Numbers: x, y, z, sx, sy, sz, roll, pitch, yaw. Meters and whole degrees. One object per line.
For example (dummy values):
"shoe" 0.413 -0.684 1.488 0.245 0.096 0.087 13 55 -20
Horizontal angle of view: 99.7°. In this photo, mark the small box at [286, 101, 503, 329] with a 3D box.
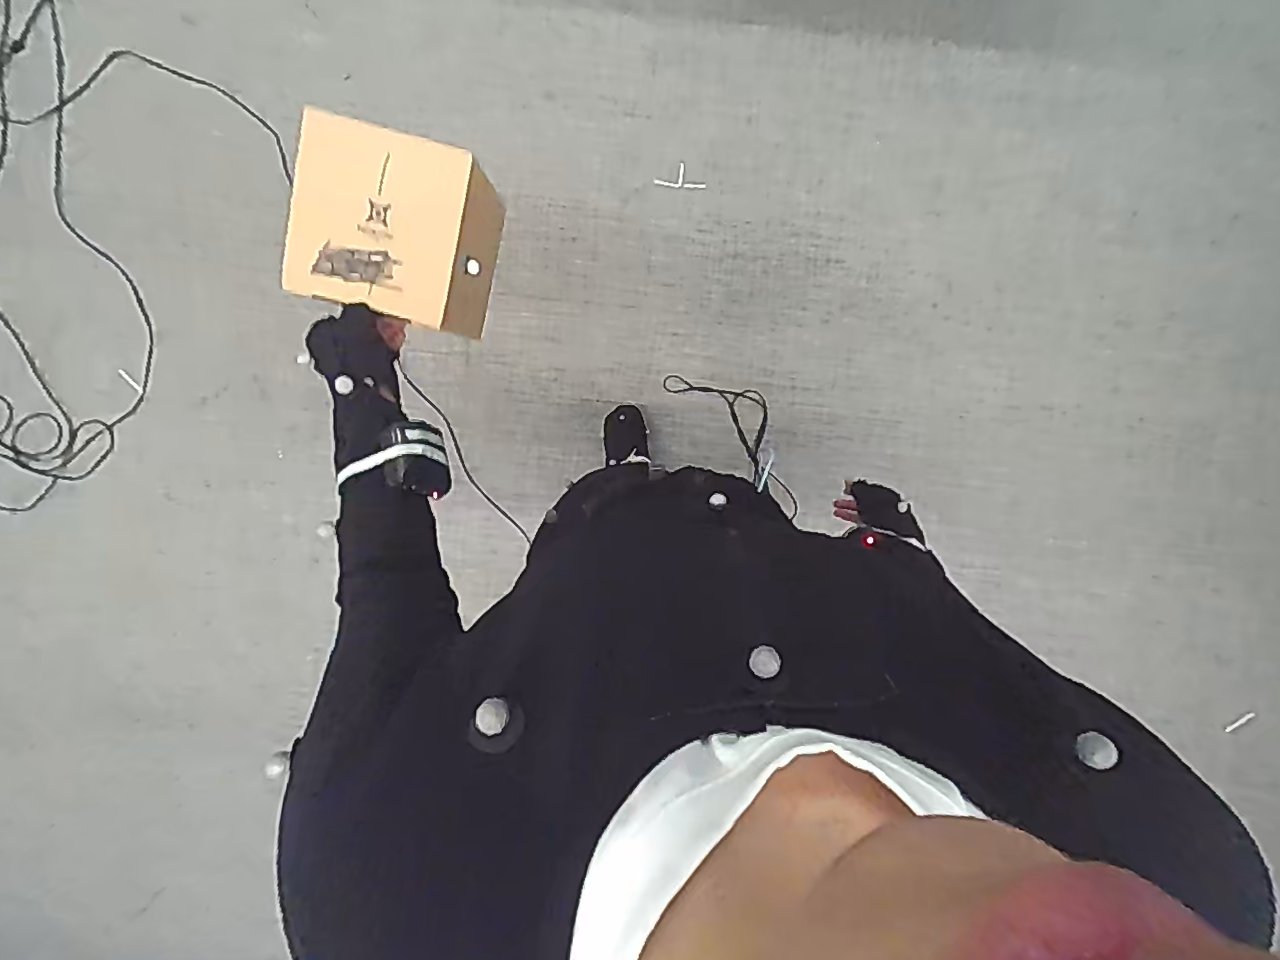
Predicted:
"small box" -0.266 -0.281 0.622 0.168 0.176 0.179 14 100 -5
